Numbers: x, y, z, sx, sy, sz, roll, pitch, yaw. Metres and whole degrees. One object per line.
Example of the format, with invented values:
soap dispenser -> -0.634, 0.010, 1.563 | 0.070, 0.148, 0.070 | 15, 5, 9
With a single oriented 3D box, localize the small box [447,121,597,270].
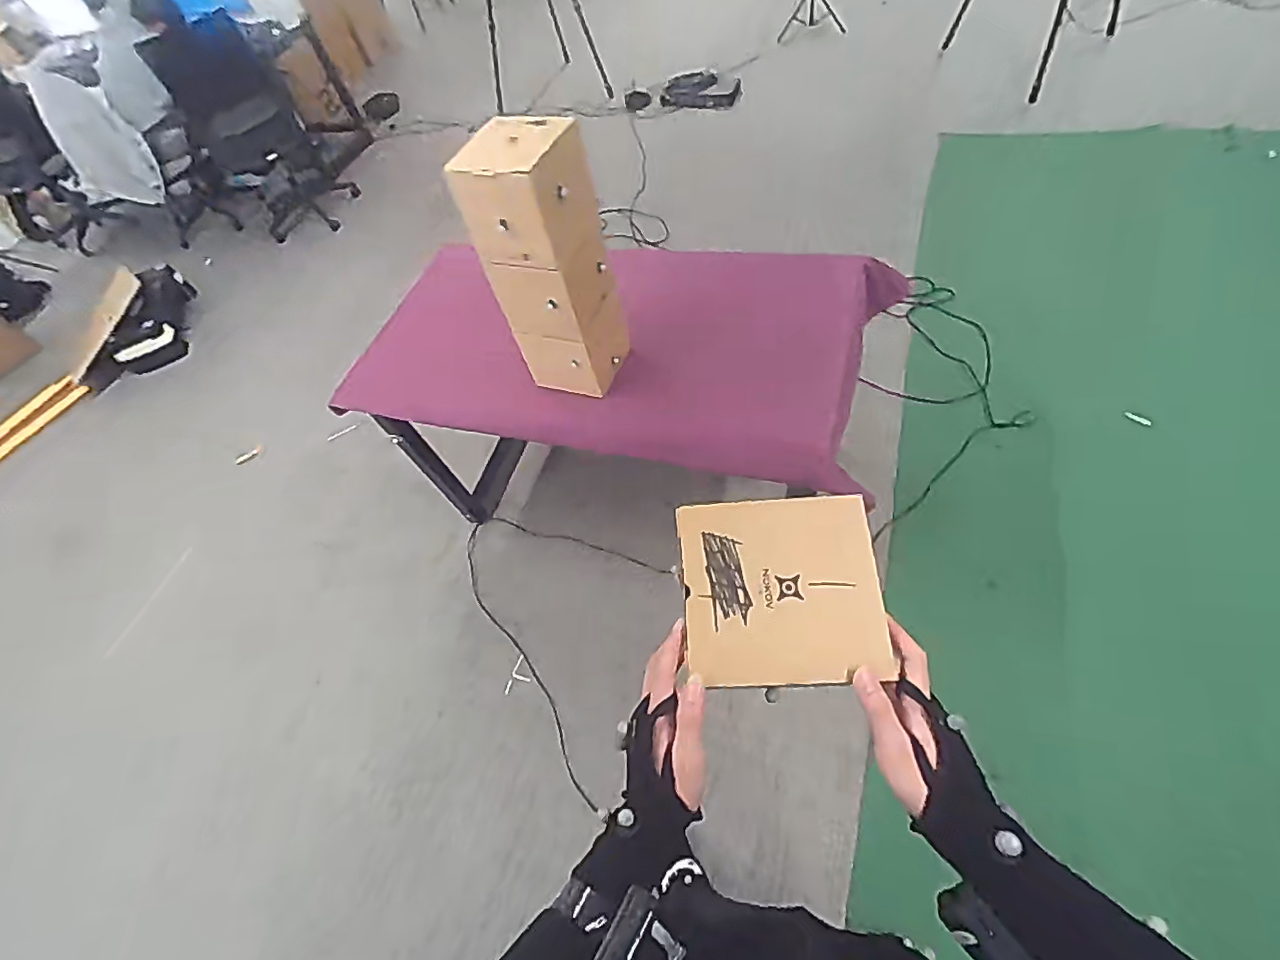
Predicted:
small box -> -0.192, -0.492, 0.943 | 0.168, 0.176, 0.179 | 14, 61, 19

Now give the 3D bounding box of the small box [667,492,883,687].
small box -> 0.124, 0.122, 0.558 | 0.179, 0.176, 0.168 | -4, 68, 5

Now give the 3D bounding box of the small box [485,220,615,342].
small box -> -0.166, -0.398, 1.073 | 0.179, 0.176, 0.168 | 14, 61, 20
